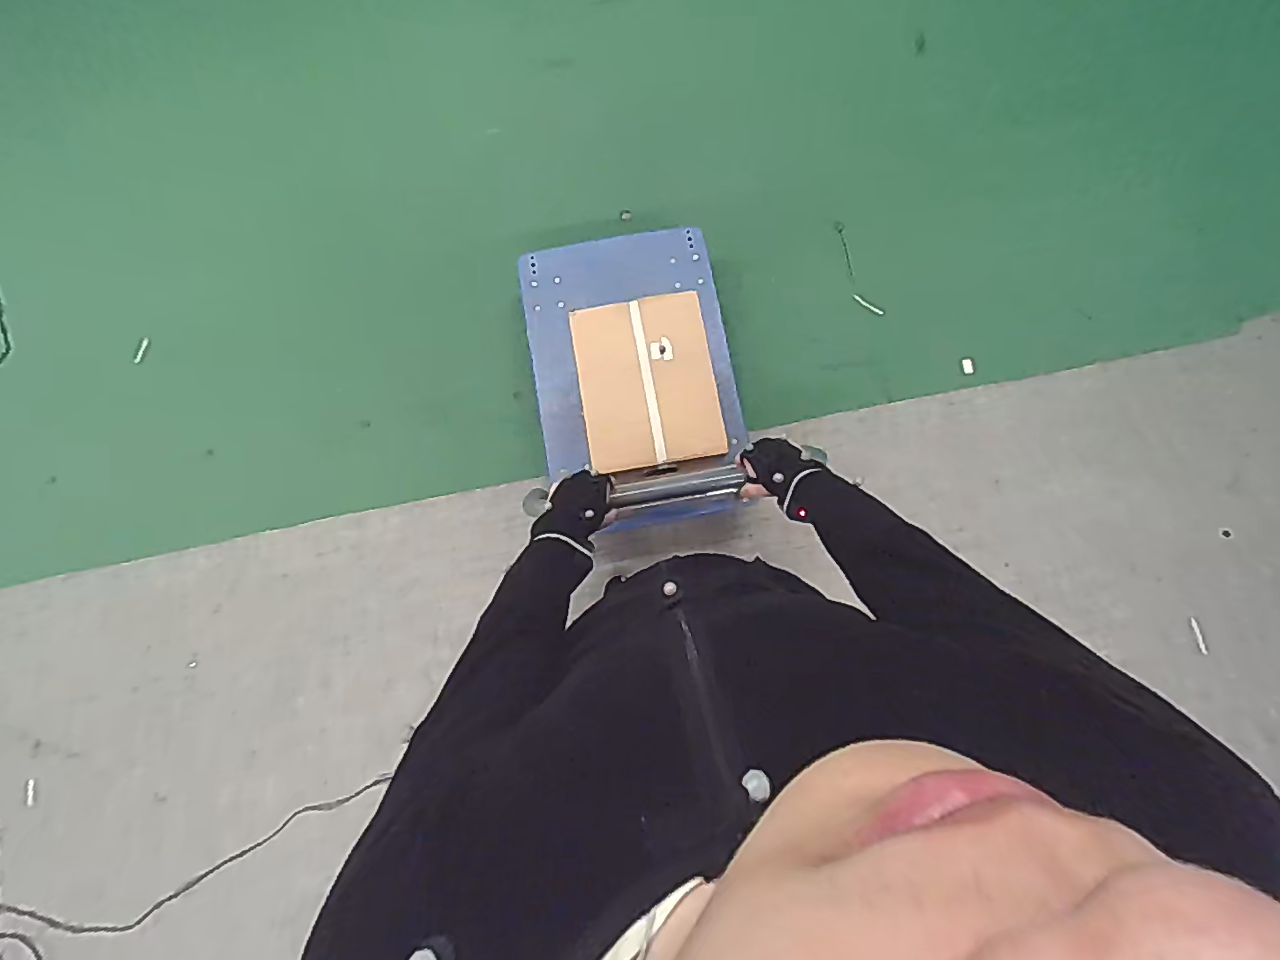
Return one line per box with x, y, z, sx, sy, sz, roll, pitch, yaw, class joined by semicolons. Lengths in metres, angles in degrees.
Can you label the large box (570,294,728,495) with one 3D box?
0.021;-0.201;1.405;0.320;0.320;0.408;-10;80;-1;large box
